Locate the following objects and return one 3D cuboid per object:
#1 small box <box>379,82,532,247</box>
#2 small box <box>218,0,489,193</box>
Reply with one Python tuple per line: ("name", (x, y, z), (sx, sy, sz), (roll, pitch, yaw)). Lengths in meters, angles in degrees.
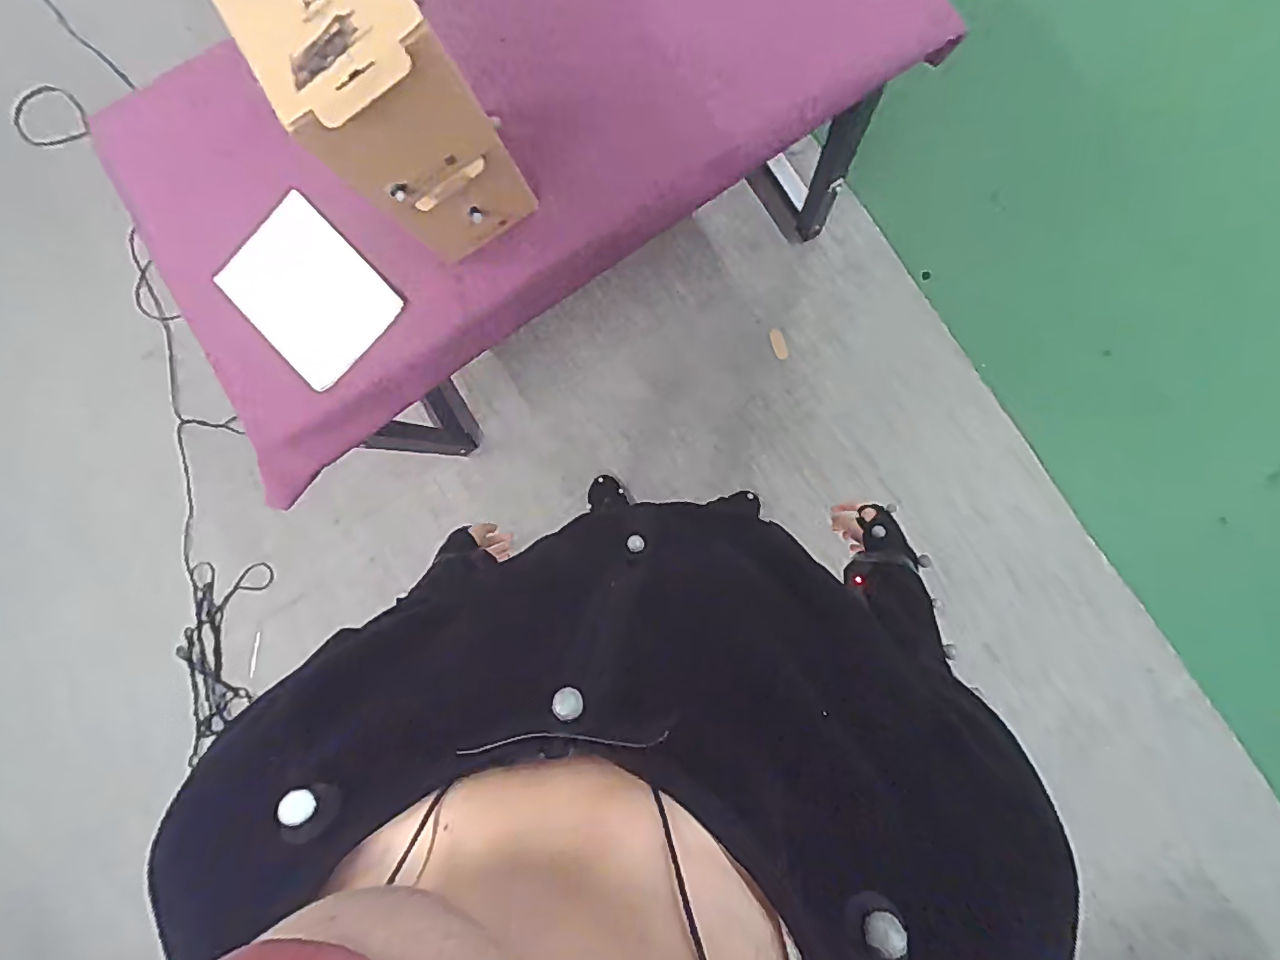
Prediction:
("small box", (-0.275, -0.452, 0.746), (0.168, 0.176, 0.179), (-31, 87, 6))
("small box", (-0.293, -0.447, 0.582), (0.168, 0.176, 0.179), (-31, 85, 6))
